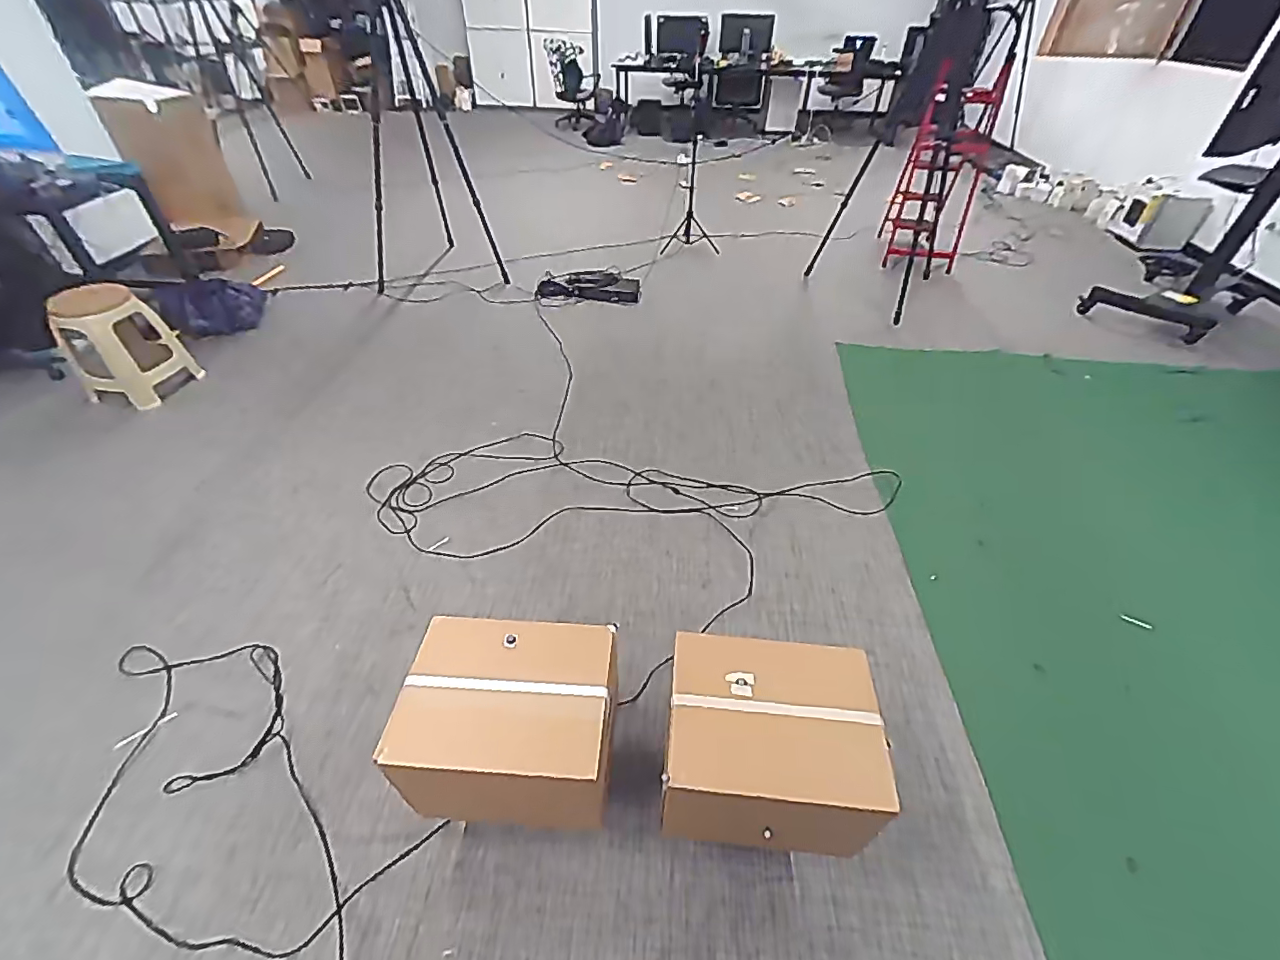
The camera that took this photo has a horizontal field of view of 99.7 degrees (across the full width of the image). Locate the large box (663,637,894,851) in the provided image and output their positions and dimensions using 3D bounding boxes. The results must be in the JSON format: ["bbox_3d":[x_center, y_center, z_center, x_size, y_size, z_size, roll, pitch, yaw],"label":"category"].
[{"bbox_3d":[0.263,0.567,1.163,0.408,0.320,0.320,4,43,4],"label":"large box"}]
